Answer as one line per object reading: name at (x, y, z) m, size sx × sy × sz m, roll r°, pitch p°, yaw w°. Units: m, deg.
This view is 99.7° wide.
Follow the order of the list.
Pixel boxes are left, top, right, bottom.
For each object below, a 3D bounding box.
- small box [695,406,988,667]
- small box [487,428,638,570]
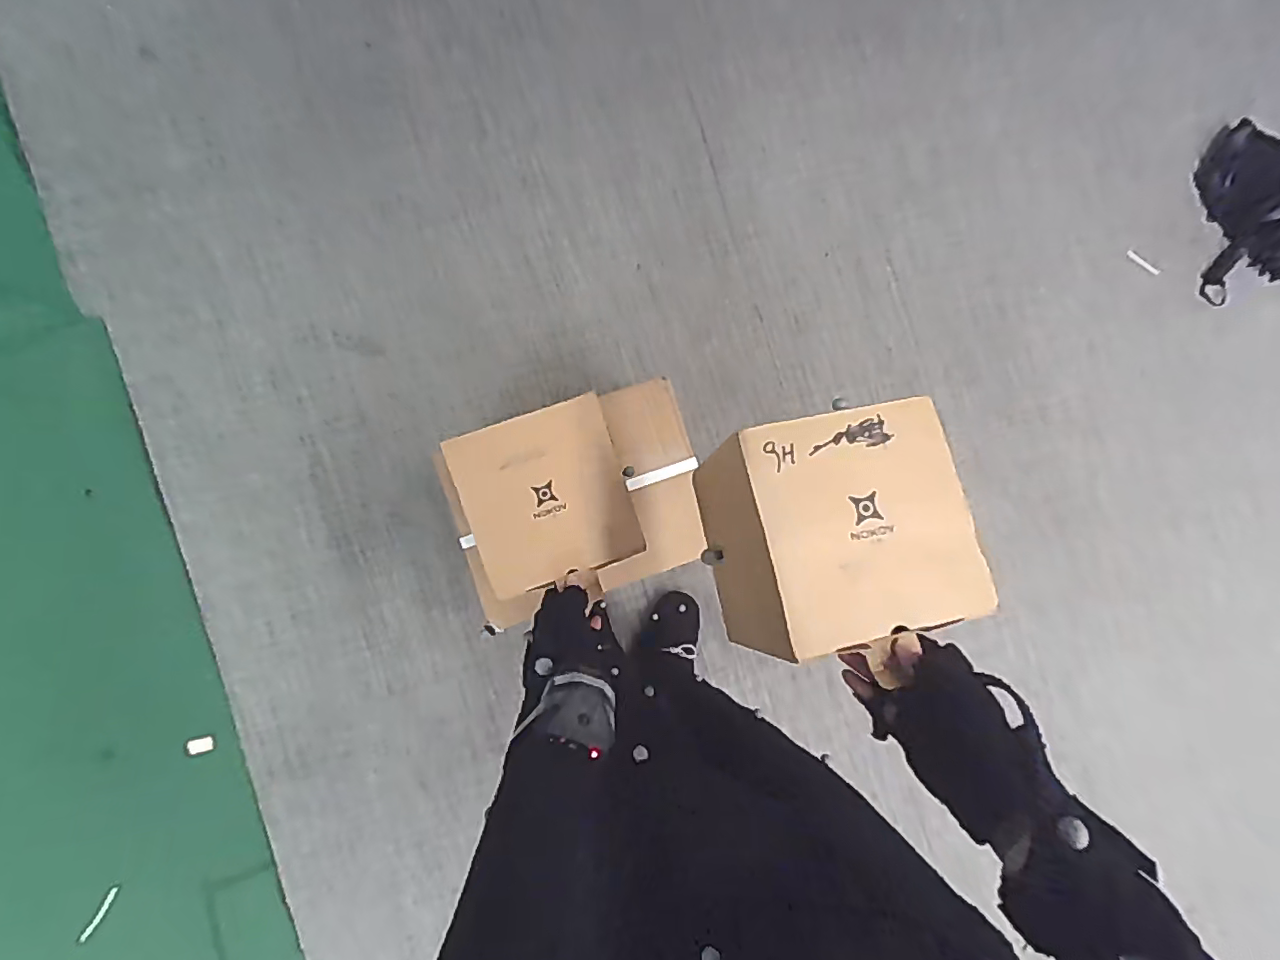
small box at (0.159, 0.051, 0.489) m, size 0.168 × 0.176 × 0.179 m, roll -11°, pitch 80°, yaw -9°
small box at (-0.110, 0.022, 0.796) m, size 0.179 × 0.176 × 0.168 m, roll -12°, pitch 92°, yaw -4°
